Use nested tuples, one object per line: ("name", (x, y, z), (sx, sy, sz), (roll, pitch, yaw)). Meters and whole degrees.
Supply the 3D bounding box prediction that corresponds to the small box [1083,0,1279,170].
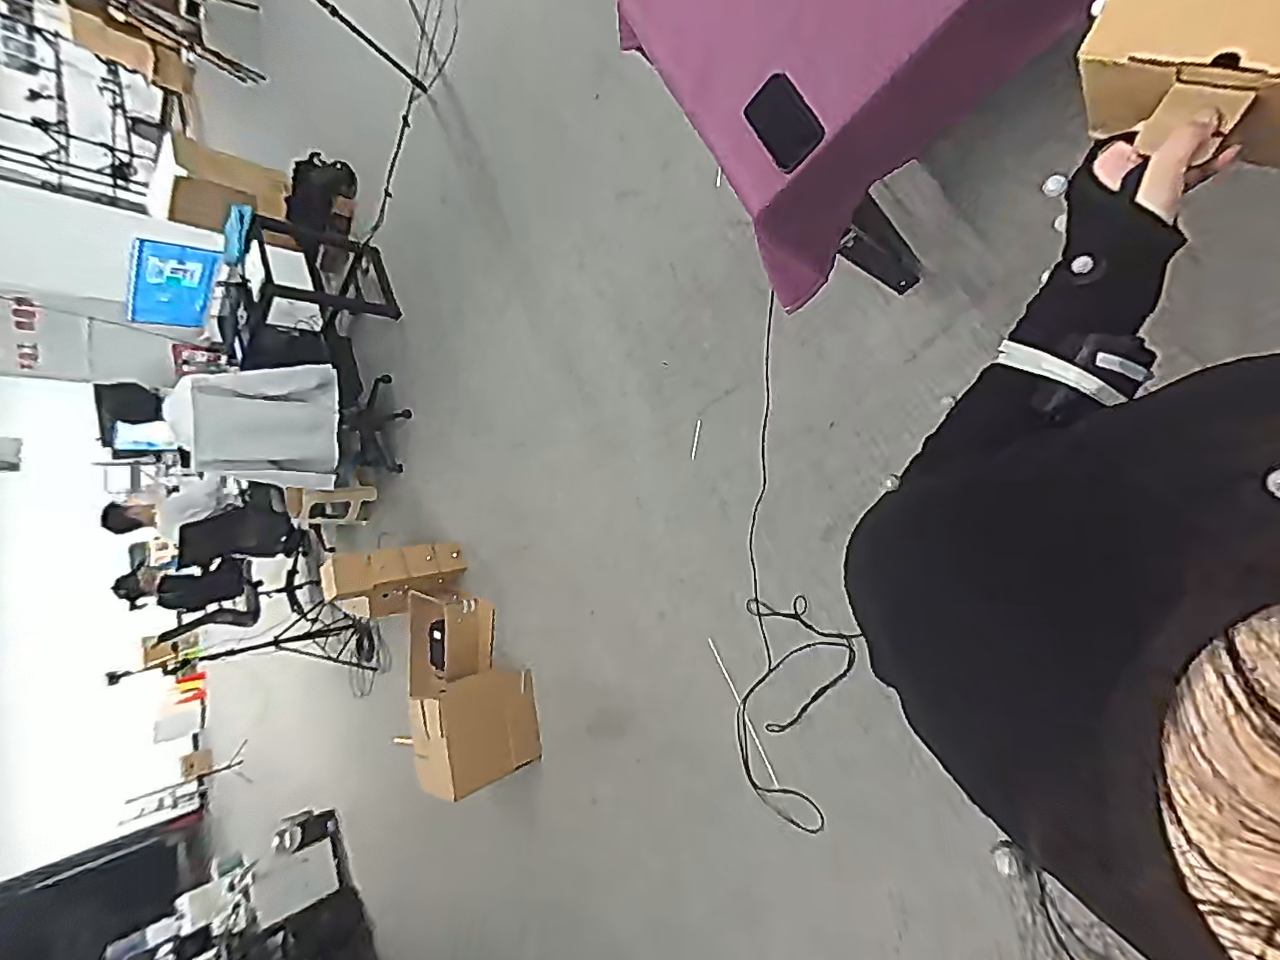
("small box", (0.443, -0.342, 0.365), (0.168, 0.176, 0.179), (37, 121, 29))
